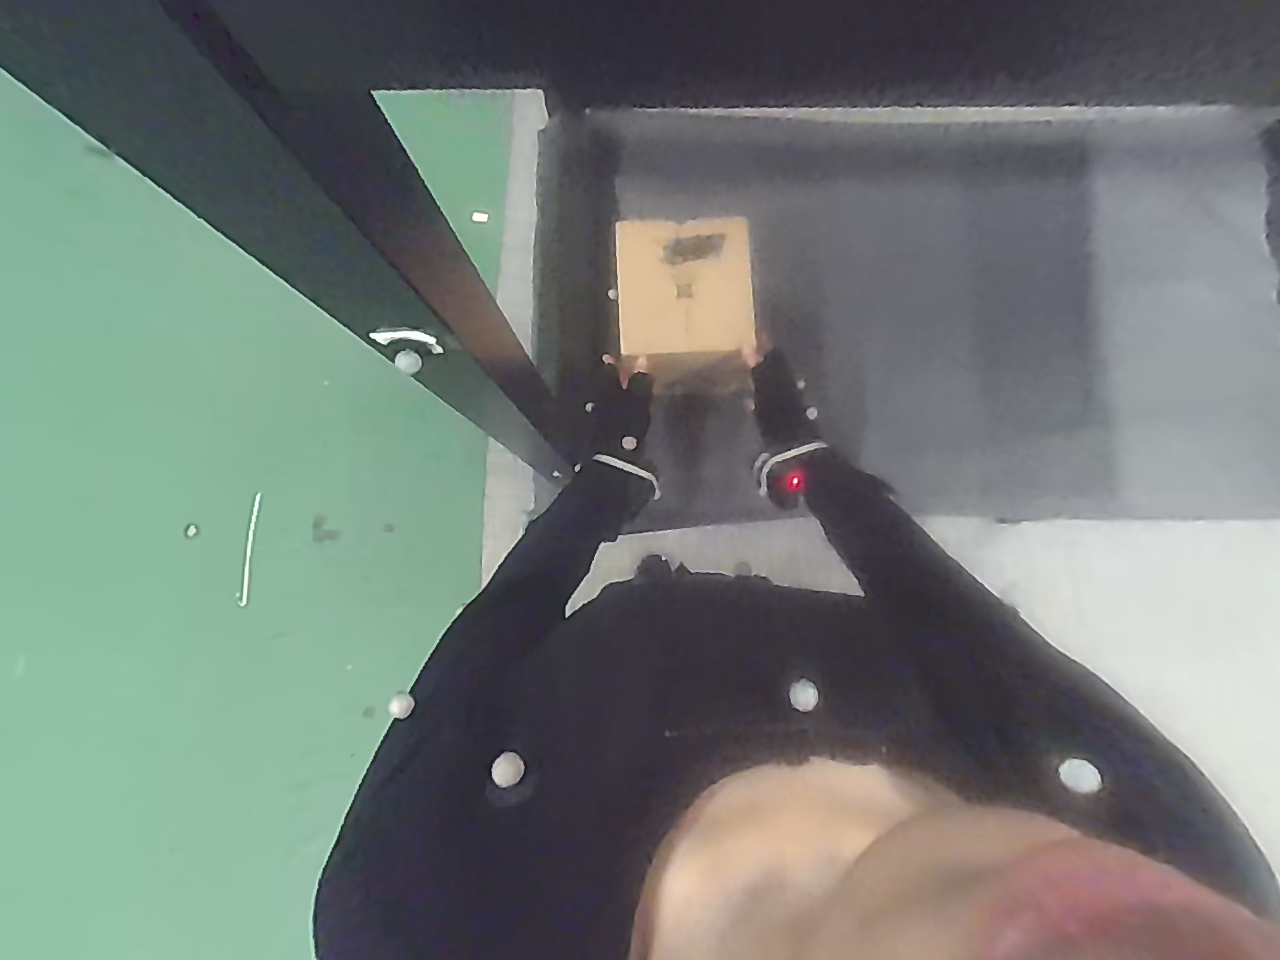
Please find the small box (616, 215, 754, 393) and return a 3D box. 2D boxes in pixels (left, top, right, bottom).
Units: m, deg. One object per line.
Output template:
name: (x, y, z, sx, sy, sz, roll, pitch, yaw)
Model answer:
small box: (0.053, -0.228, 0.733, 0.168, 0.176, 0.179, -2, 82, 1)
